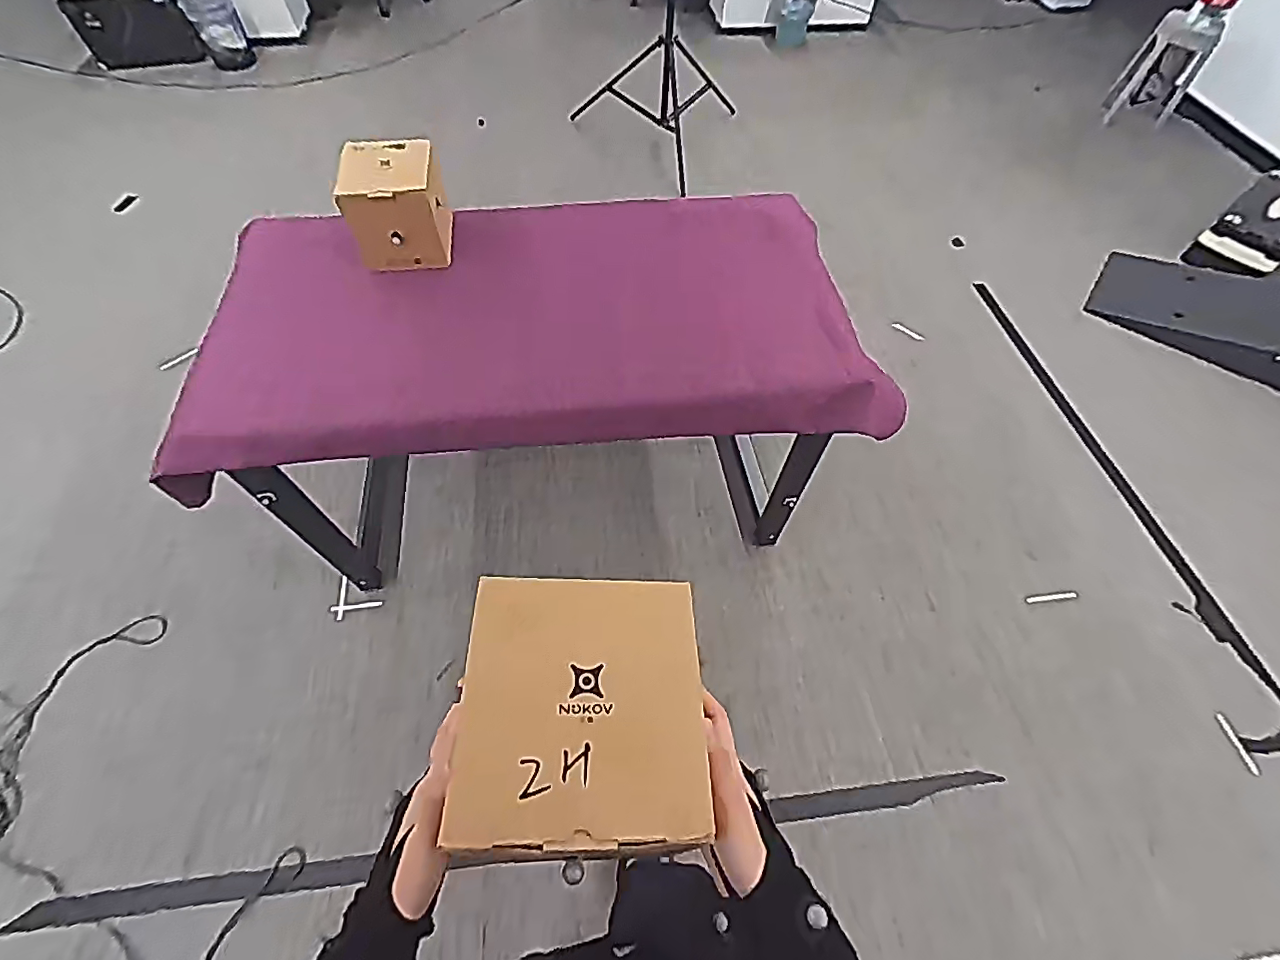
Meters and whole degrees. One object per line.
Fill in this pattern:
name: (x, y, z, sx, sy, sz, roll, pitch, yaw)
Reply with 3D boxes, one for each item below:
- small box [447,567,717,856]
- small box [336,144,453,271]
small box: (-0.045, 0.189, 0.436, 0.168, 0.176, 0.179, 3, 52, -6)
small box: (-0.482, -0.541, 1.090, 0.168, 0.176, 0.179, -6, 61, -6)
